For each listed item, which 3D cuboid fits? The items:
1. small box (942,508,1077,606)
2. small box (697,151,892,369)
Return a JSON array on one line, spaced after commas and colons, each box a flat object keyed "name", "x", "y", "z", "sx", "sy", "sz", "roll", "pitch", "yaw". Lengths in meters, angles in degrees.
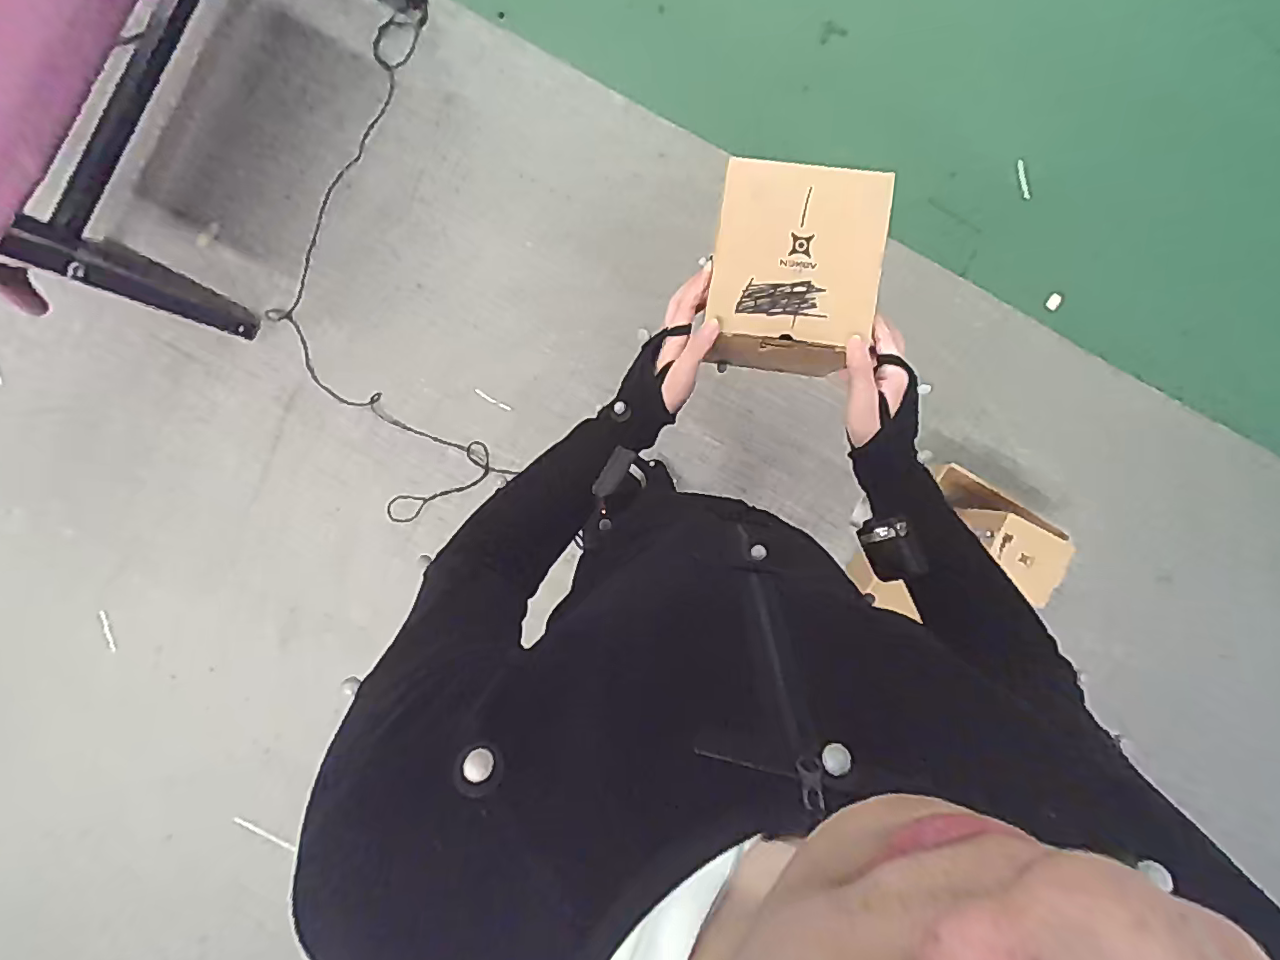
[{"name": "small box", "x": 0.892, "y": 0.178, "z": 1.323, "sx": 0.179, "sy": 0.176, "sz": 0.168, "roll": 28, "pitch": 91, "yaw": 0}, {"name": "small box", "x": 0.157, "y": -0.229, "z": 0.608, "sx": 0.168, "sy": 0.176, "sz": 0.179, "roll": 8, "pitch": 93, "yaw": 3}]
